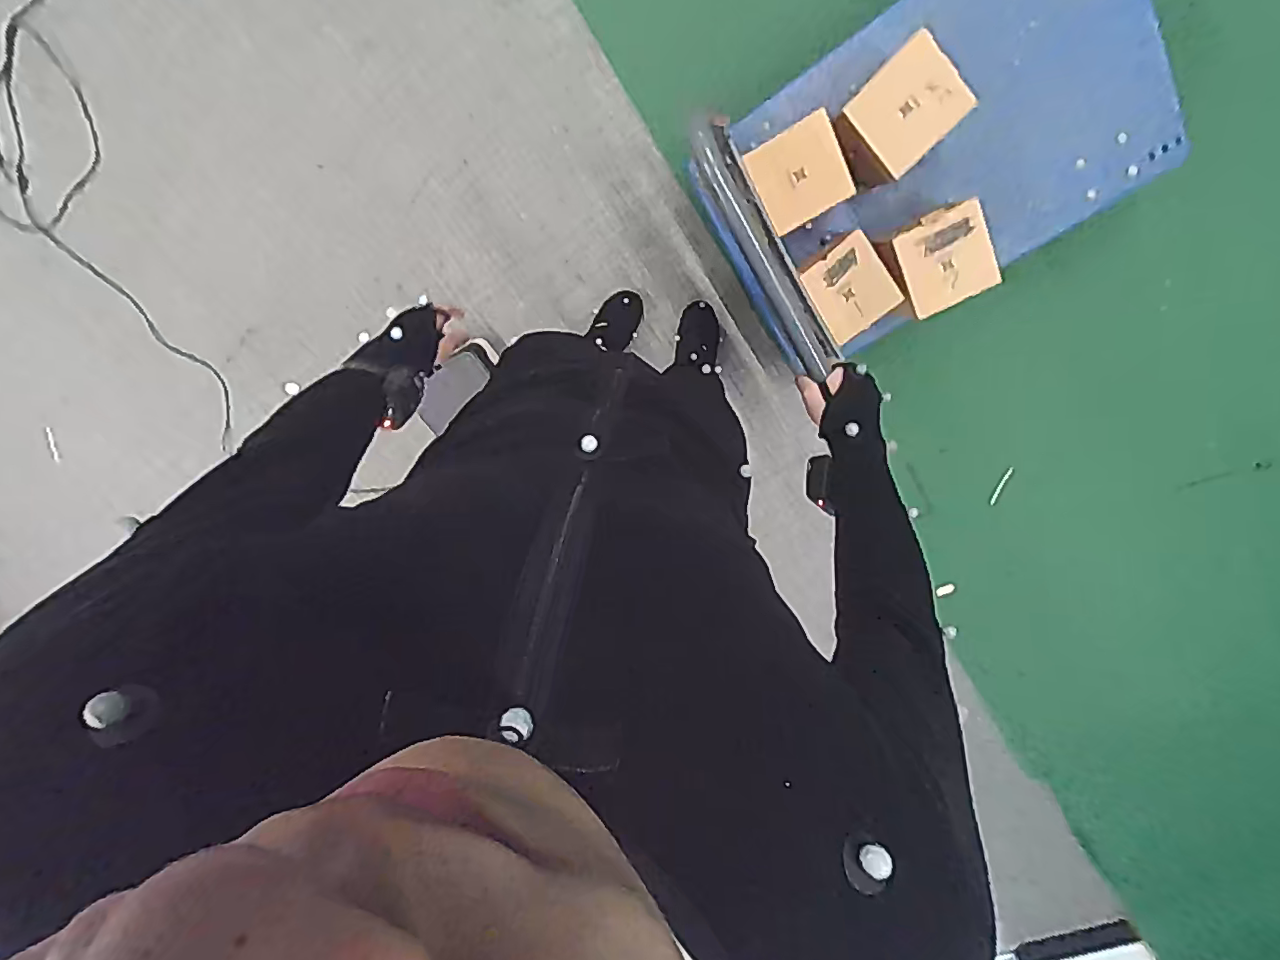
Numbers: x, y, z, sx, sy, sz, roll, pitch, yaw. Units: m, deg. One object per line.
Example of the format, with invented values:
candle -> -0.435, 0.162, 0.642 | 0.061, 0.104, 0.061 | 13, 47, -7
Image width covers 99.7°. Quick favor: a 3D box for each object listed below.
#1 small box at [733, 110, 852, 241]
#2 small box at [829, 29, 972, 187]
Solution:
small box -> 0.304, -0.614, 1.112 | 0.179, 0.176, 0.168 | -25, 108, 15
small box -> 0.490, -0.705, 1.054 | 0.179, 0.176, 0.168 | -41, 103, 19
